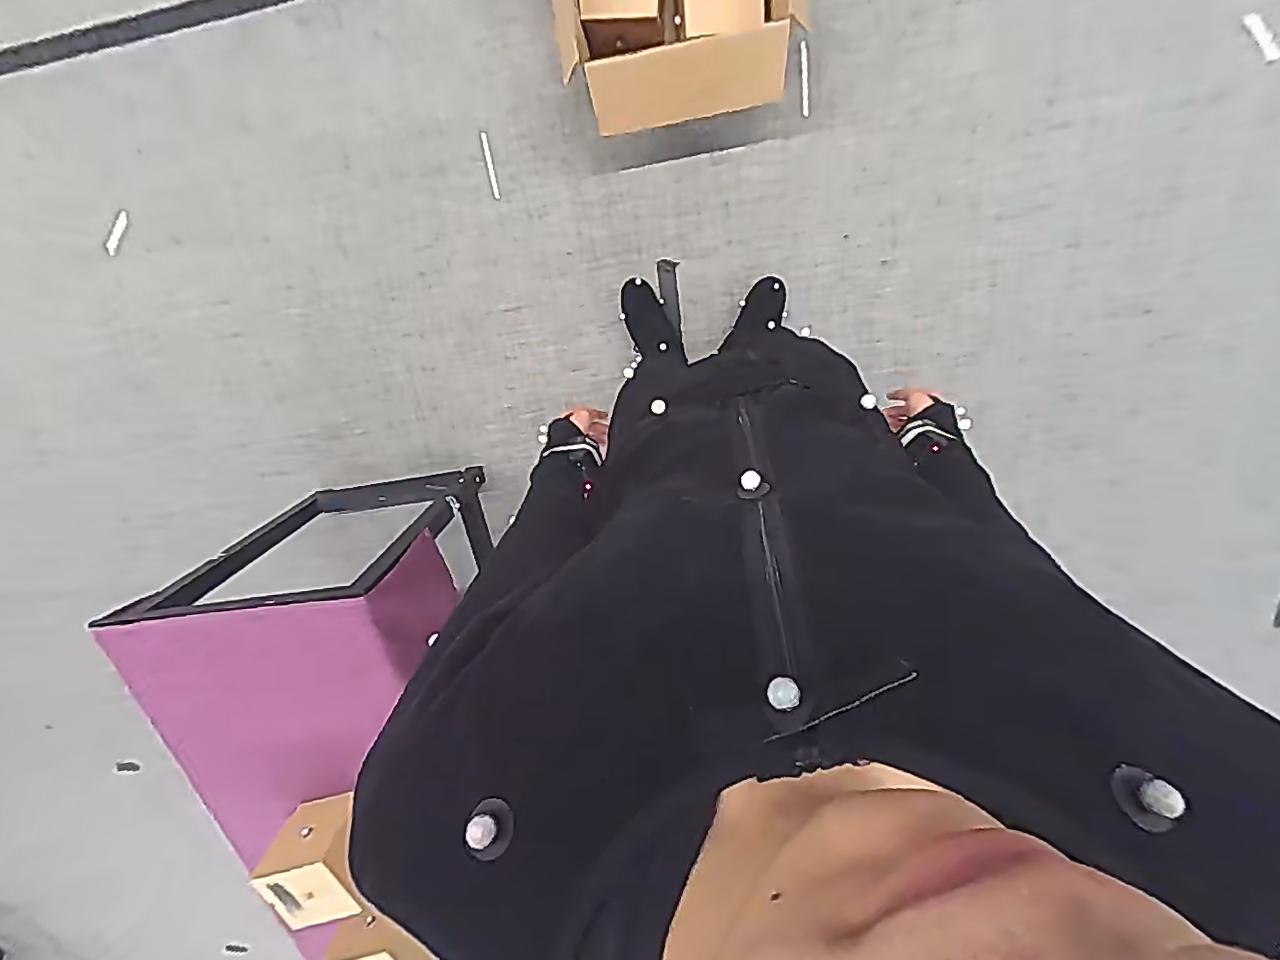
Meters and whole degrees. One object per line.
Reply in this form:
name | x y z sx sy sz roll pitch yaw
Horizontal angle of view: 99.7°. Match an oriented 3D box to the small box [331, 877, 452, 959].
small box | -0.589 1.103 1.299 0.179 0.176 0.168 -21 109 11
